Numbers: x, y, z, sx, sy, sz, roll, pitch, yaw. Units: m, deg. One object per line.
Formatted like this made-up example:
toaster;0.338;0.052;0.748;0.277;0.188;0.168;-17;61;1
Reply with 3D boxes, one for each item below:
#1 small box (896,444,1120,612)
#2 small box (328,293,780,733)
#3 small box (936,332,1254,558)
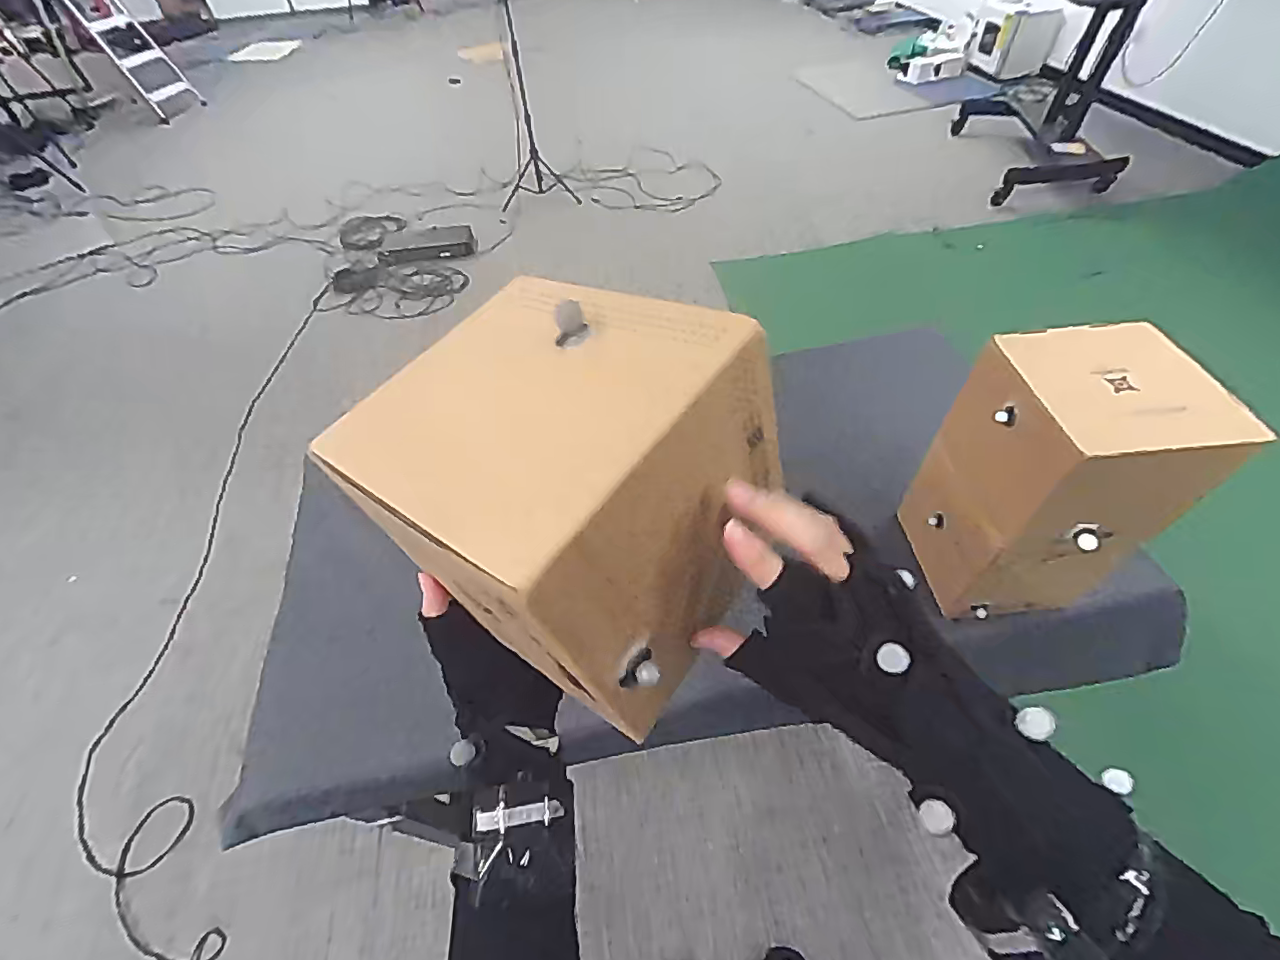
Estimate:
small box;0.469;0.064;0.716;0.168;0.176;0.179;-5;50;0
small box;-0.035;0.008;0.330;0.179;0.168;0.176;24;60;34
small box;0.459;-0.036;0.589;0.168;0.176;0.179;-5;51;1
